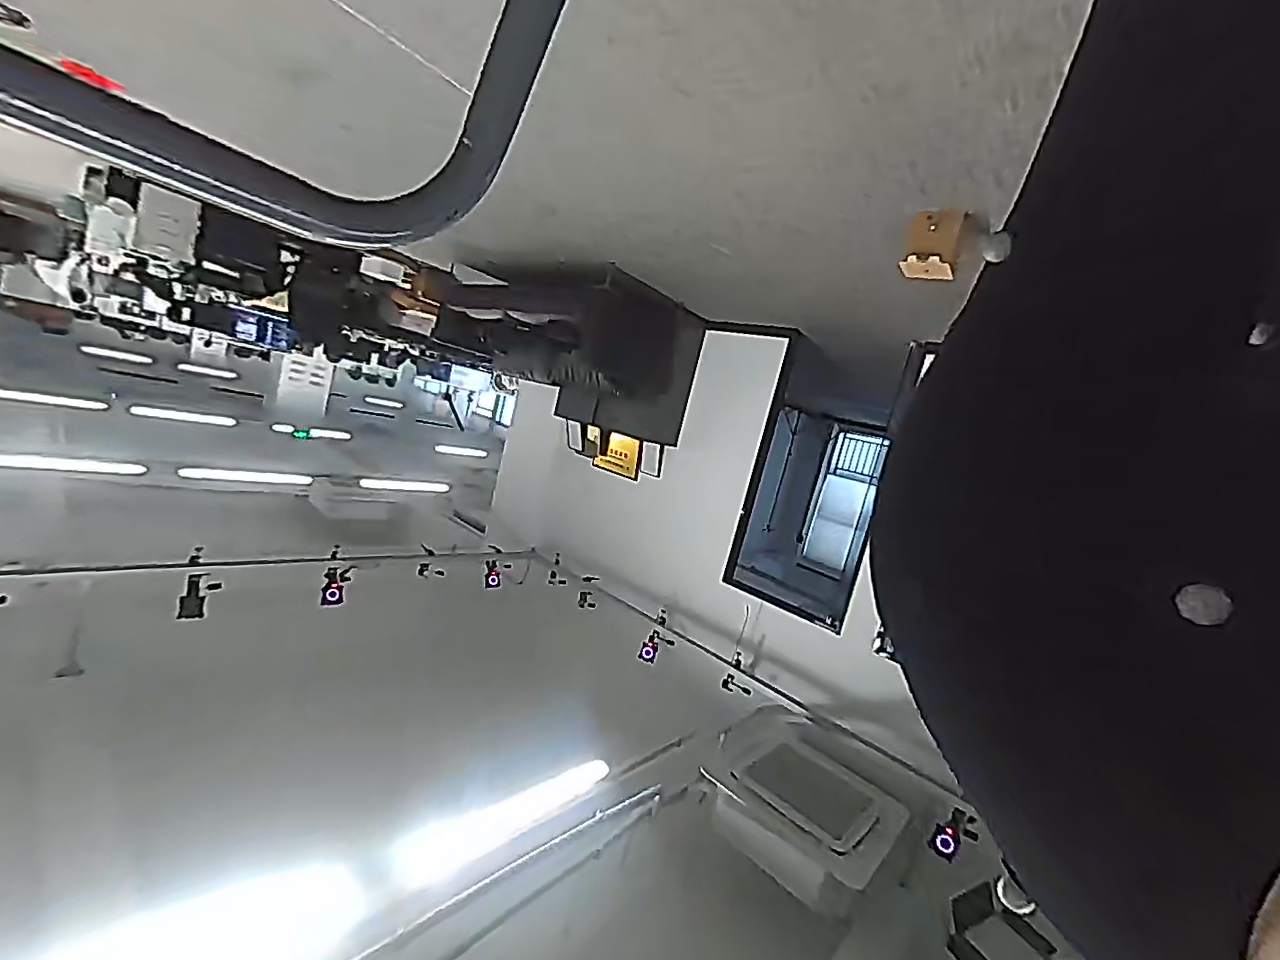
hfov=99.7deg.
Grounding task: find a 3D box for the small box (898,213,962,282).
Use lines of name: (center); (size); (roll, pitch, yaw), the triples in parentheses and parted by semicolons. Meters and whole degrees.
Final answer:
small box: (1.031, -0.826, 1.927); (0.168, 0.176, 0.179); (15, -175, 27)
